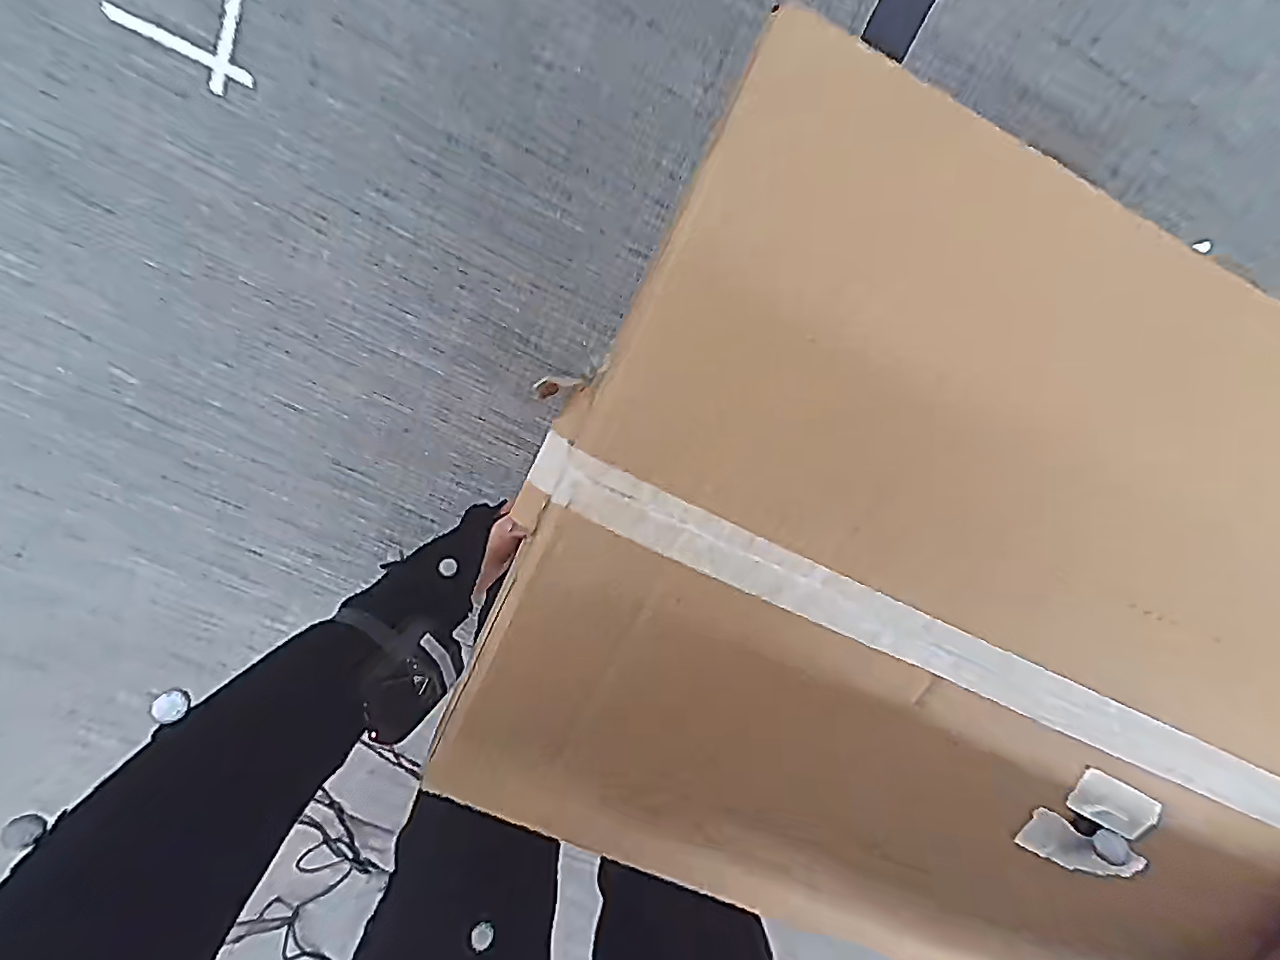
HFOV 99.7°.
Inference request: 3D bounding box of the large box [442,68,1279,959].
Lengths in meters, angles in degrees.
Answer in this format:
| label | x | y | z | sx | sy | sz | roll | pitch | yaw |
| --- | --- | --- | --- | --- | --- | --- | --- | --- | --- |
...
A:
| label | x | y | z | sx | sy | sz | roll | pitch | yaw |
| --- | --- | --- | --- | --- | --- | --- | --- | --- | --- |
| large box | 0.149 | 0.042 | 0.367 | 0.408 | 0.320 | 0.320 | 24 | 104 | -8 |
